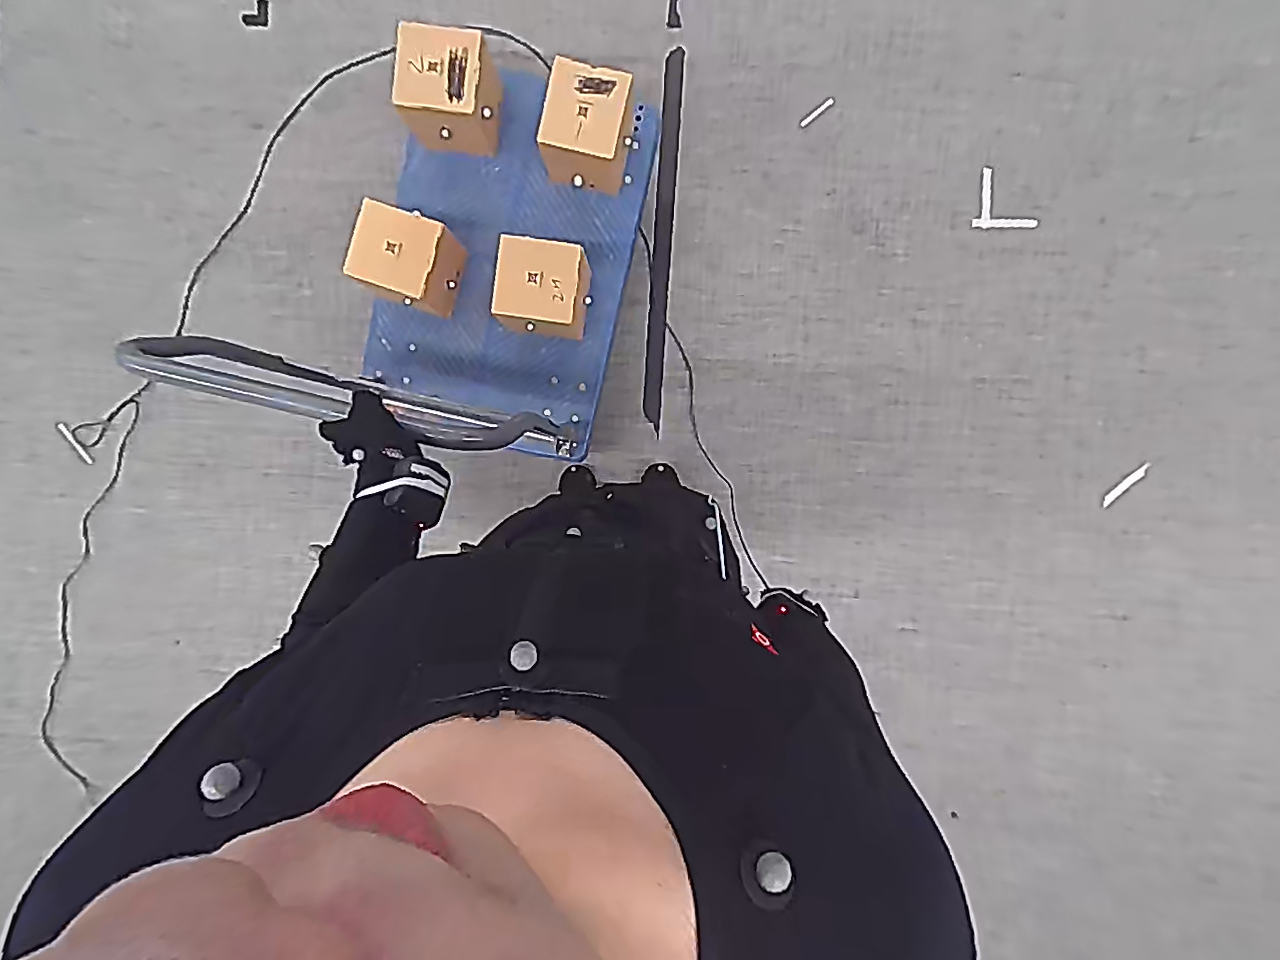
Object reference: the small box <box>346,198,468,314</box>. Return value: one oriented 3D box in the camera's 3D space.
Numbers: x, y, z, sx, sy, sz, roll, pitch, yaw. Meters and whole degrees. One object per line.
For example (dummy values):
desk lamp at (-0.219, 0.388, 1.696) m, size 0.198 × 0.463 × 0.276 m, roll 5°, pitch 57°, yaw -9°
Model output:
small box at (-0.511, -0.489, 1.210) m, size 0.179 × 0.176 × 0.168 m, roll 18°, pitch 93°, yaw -2°

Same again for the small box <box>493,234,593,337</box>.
small box at (-0.210, -0.426, 1.208) m, size 0.179 × 0.176 × 0.168 m, roll 8°, pitch 94°, yaw 0°

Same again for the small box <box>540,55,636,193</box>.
small box at (-0.107, -0.768, 1.184) m, size 0.168 × 0.176 × 0.179 m, roll 14°, pitch 95°, yaw 0°
